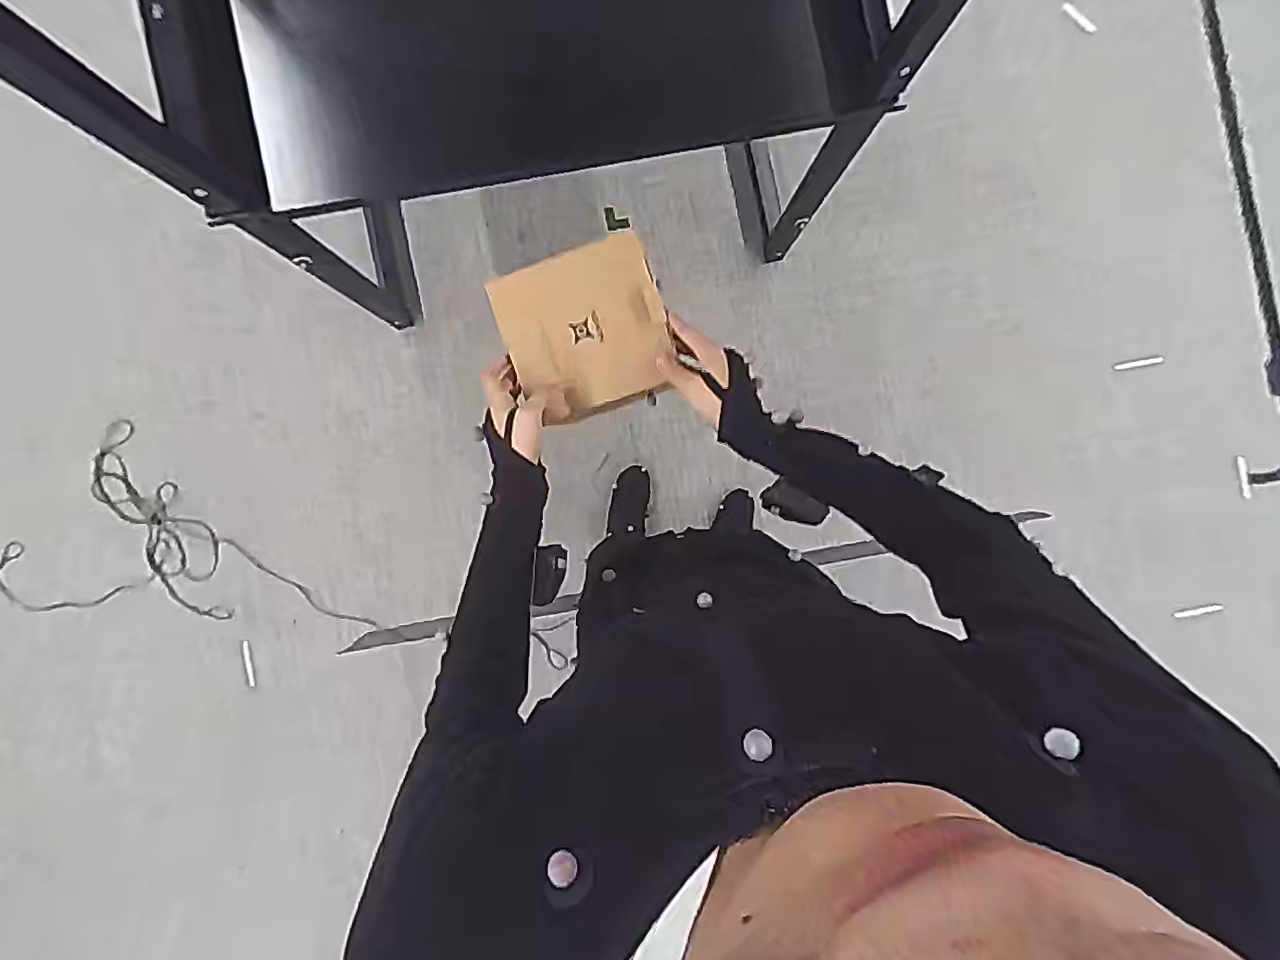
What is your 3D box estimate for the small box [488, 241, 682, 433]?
[{"bbox_3d":[-0.057,-0.161,0.664,0.179,0.176,0.168,-18,93,4],"label":"small box"}]
